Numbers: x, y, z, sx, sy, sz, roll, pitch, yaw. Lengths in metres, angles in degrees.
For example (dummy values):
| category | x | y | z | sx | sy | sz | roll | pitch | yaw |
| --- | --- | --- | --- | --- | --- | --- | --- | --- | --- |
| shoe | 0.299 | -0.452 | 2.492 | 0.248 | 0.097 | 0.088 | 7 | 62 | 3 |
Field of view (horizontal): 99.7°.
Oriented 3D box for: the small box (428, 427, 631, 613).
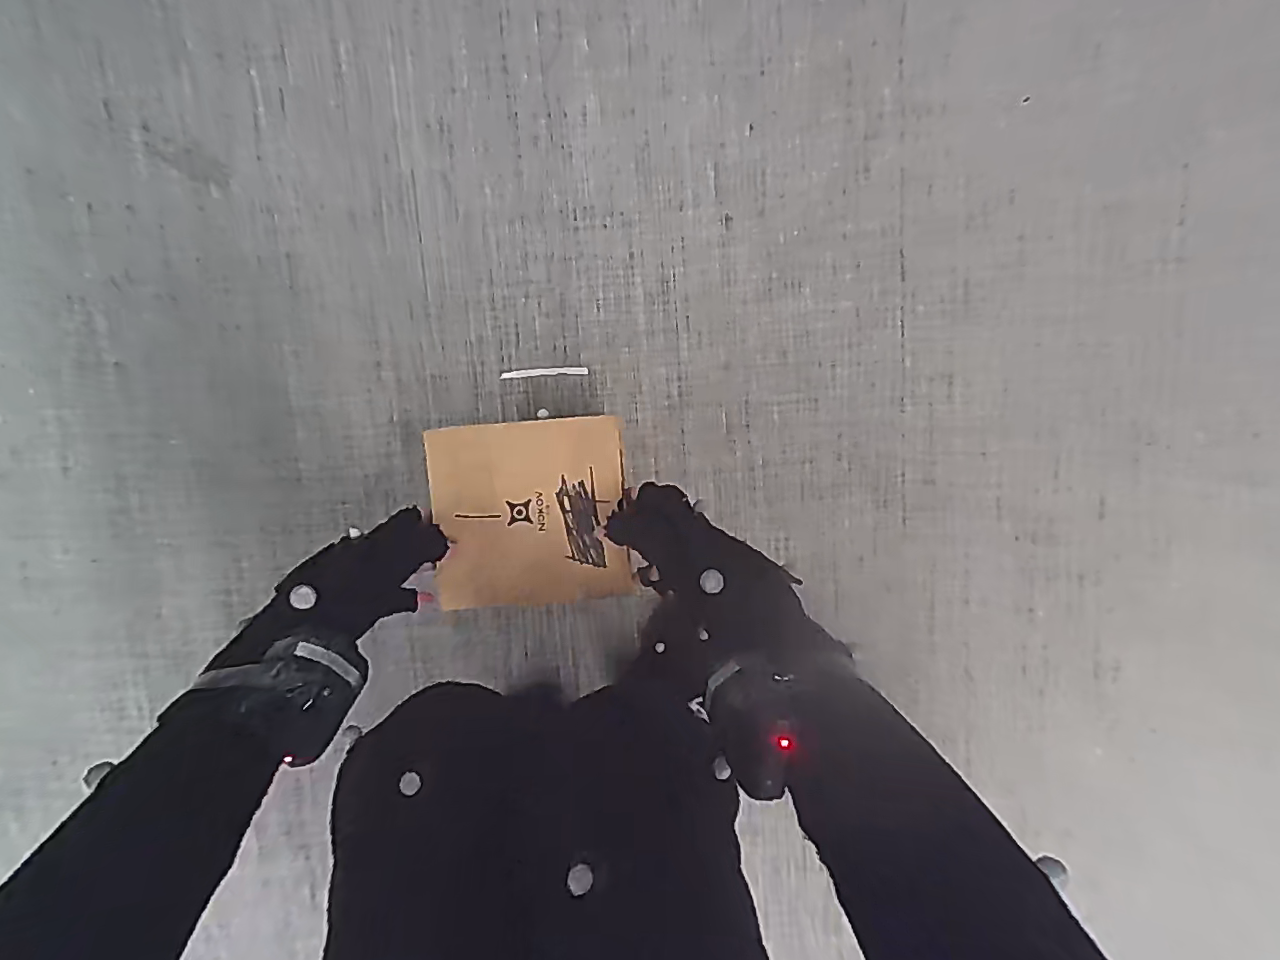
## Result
| category | x | y | z | sx | sy | sz | roll | pitch | yaw |
| --- | --- | --- | --- | --- | --- | --- | --- | --- | --- |
| small box | -0.100 | 0.032 | 0.569 | 0.179 | 0.176 | 0.168 | -3 | 92 | 1 |
